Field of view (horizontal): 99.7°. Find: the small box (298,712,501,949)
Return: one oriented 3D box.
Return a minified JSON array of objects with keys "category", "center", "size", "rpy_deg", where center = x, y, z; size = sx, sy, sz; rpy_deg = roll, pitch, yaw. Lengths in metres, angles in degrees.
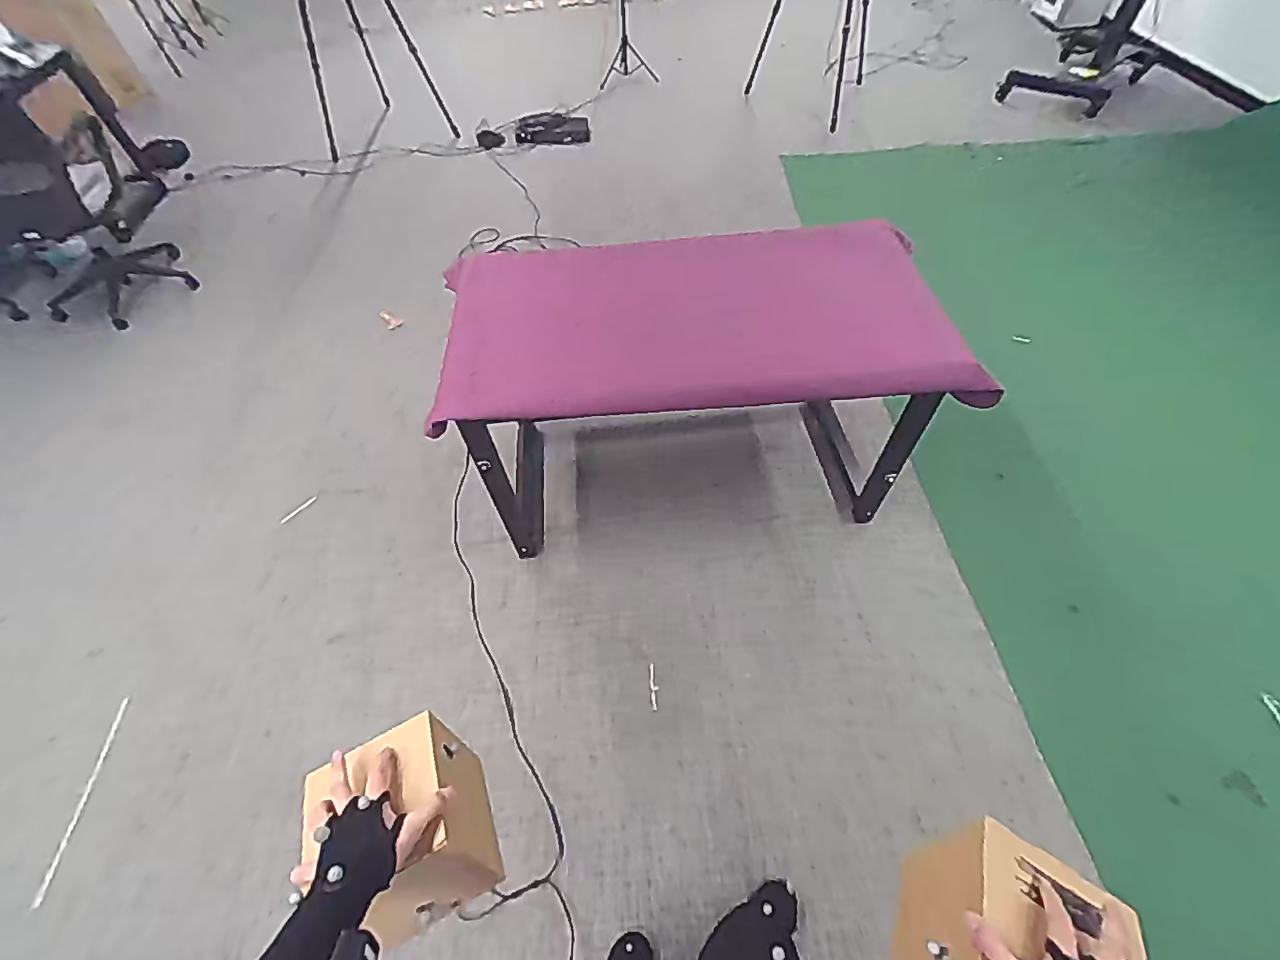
[{"category":"small box","center":[-0.300,0.445,0.692],"size":[0.168,0.176,0.179],"rpy_deg":[-27,40,-10]}]
